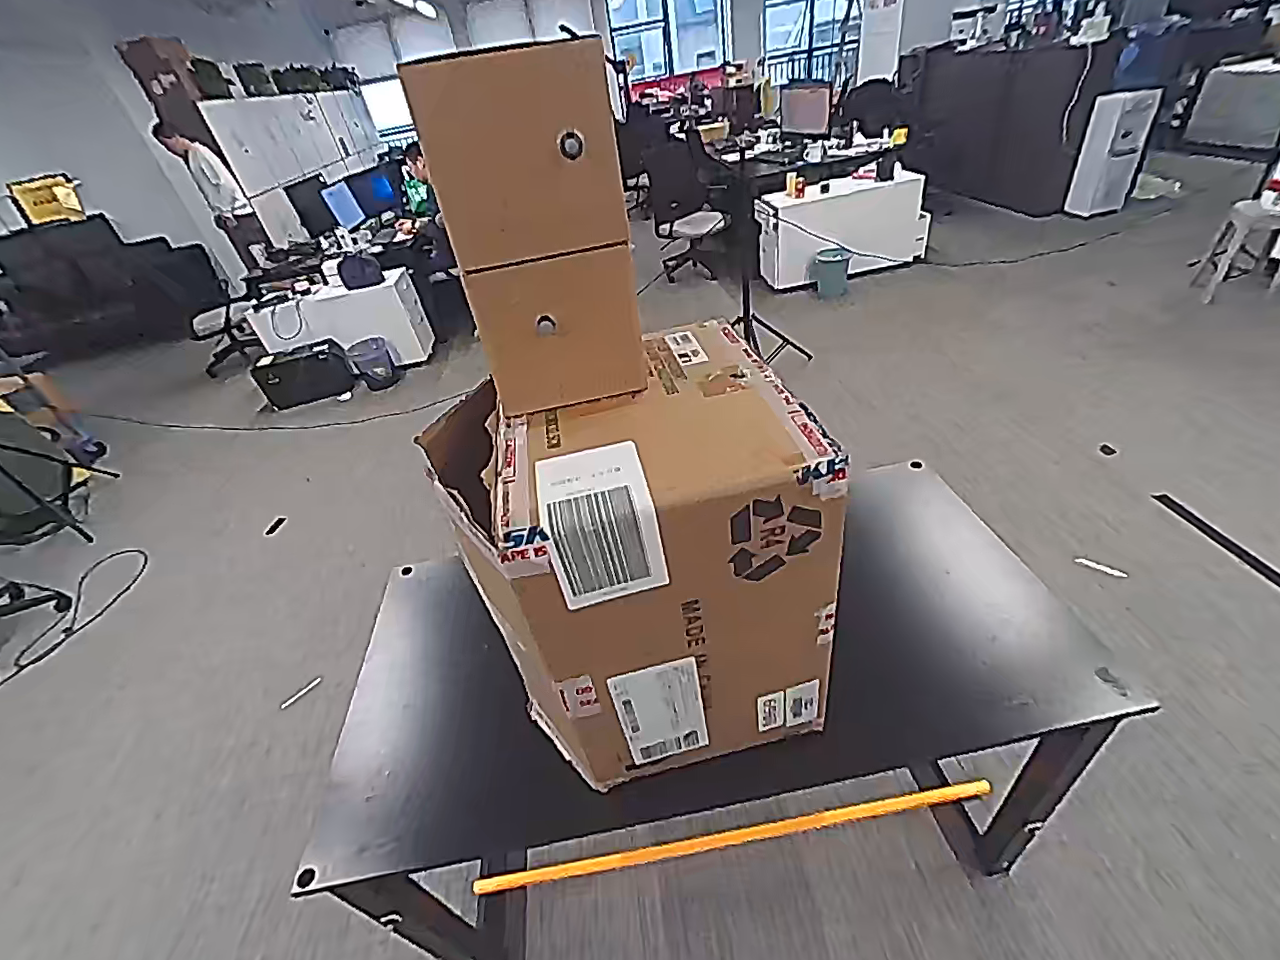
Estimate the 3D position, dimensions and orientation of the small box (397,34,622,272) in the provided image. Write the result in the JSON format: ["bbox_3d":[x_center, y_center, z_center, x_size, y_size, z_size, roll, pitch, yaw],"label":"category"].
[{"bbox_3d":[-0.121,-0.331,0.557,0.179,0.176,0.168,-15,34,-6],"label":"small box"}]

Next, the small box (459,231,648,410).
[{"bbox_3d":[-0.099,-0.201,0.655,0.179,0.176,0.168,-13,35,-4],"label":"small box"}]
